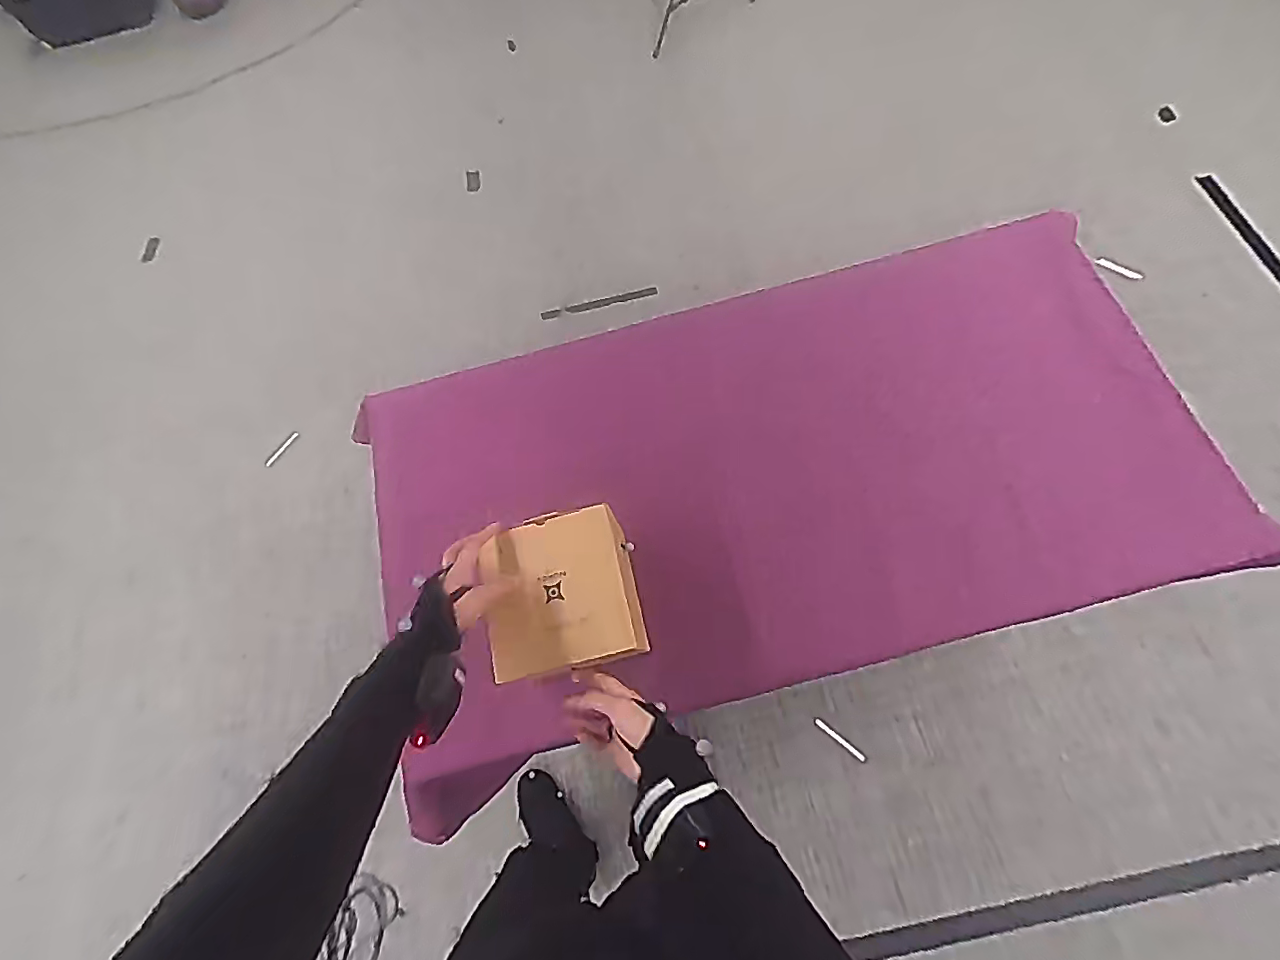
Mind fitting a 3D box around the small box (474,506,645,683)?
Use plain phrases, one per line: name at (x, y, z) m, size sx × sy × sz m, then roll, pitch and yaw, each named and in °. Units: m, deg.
small box at (-0.095, 0.153, 0.694) m, size 0.168 × 0.176 × 0.179 m, roll -14°, pitch 71°, yaw 2°
